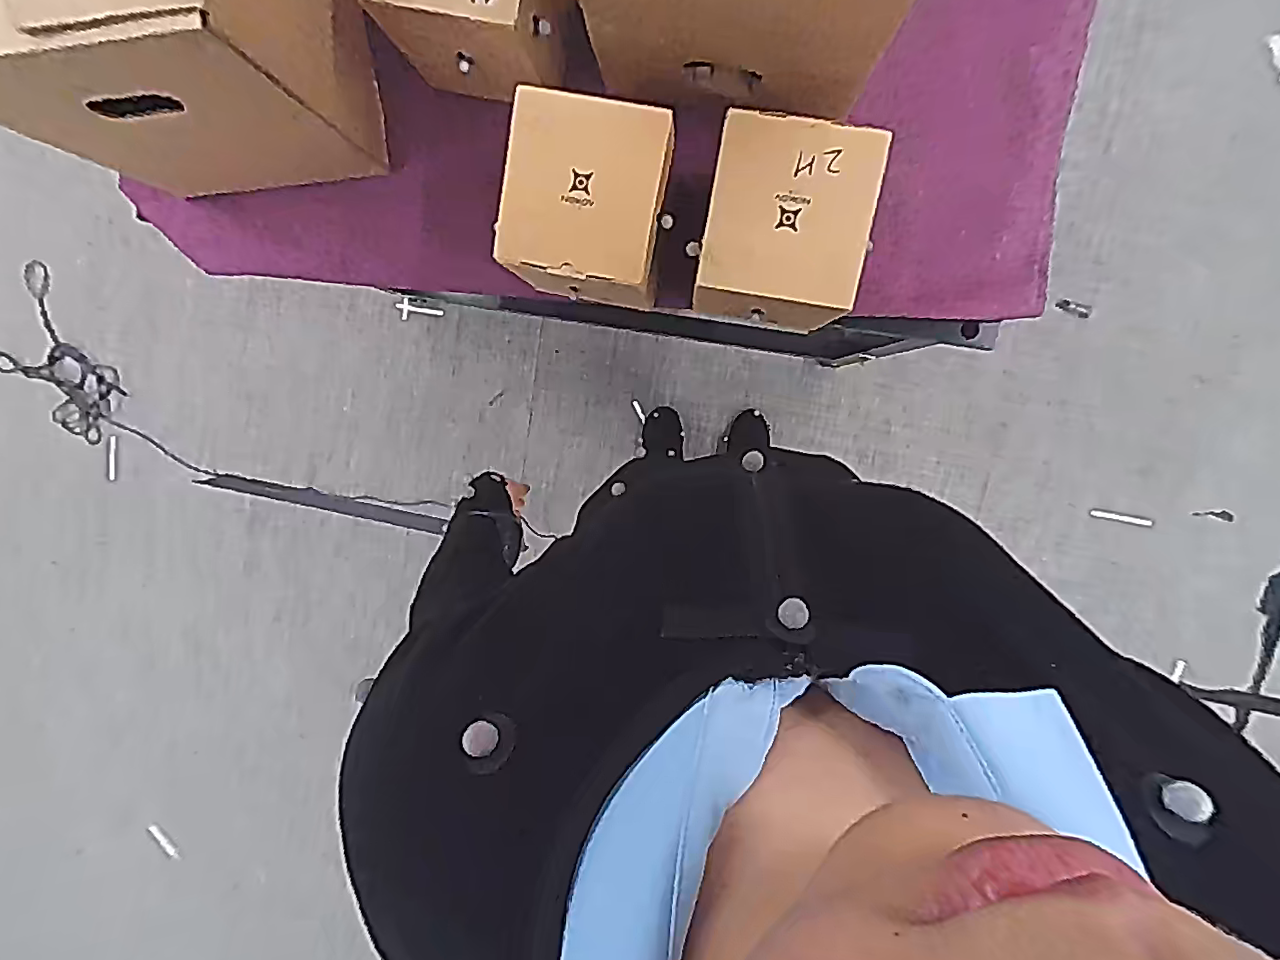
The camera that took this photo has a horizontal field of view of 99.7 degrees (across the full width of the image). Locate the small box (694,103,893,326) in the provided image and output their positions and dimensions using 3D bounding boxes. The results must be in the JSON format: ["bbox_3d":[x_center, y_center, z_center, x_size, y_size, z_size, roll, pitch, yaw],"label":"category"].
[{"bbox_3d":[0.159,-0.285,0.621,0.168,0.176,0.179,11,99,3],"label":"small box"}]
